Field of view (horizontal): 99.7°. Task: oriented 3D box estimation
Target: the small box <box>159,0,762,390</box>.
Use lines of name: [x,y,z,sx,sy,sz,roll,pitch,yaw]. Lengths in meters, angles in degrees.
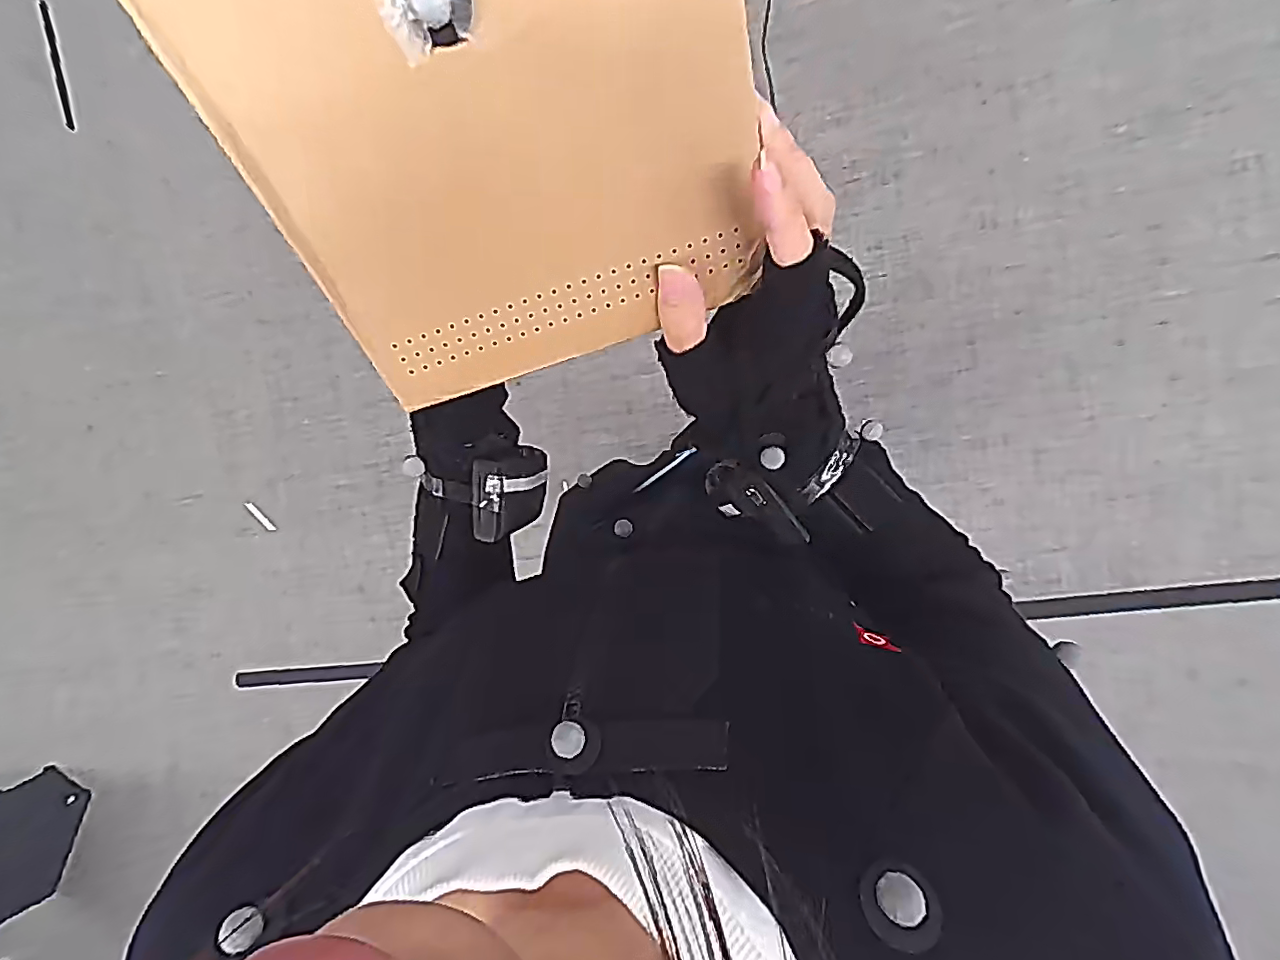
small box: [-0.055,-0.169,0.265,0.179,0.168,0.176,-17,132,5]
